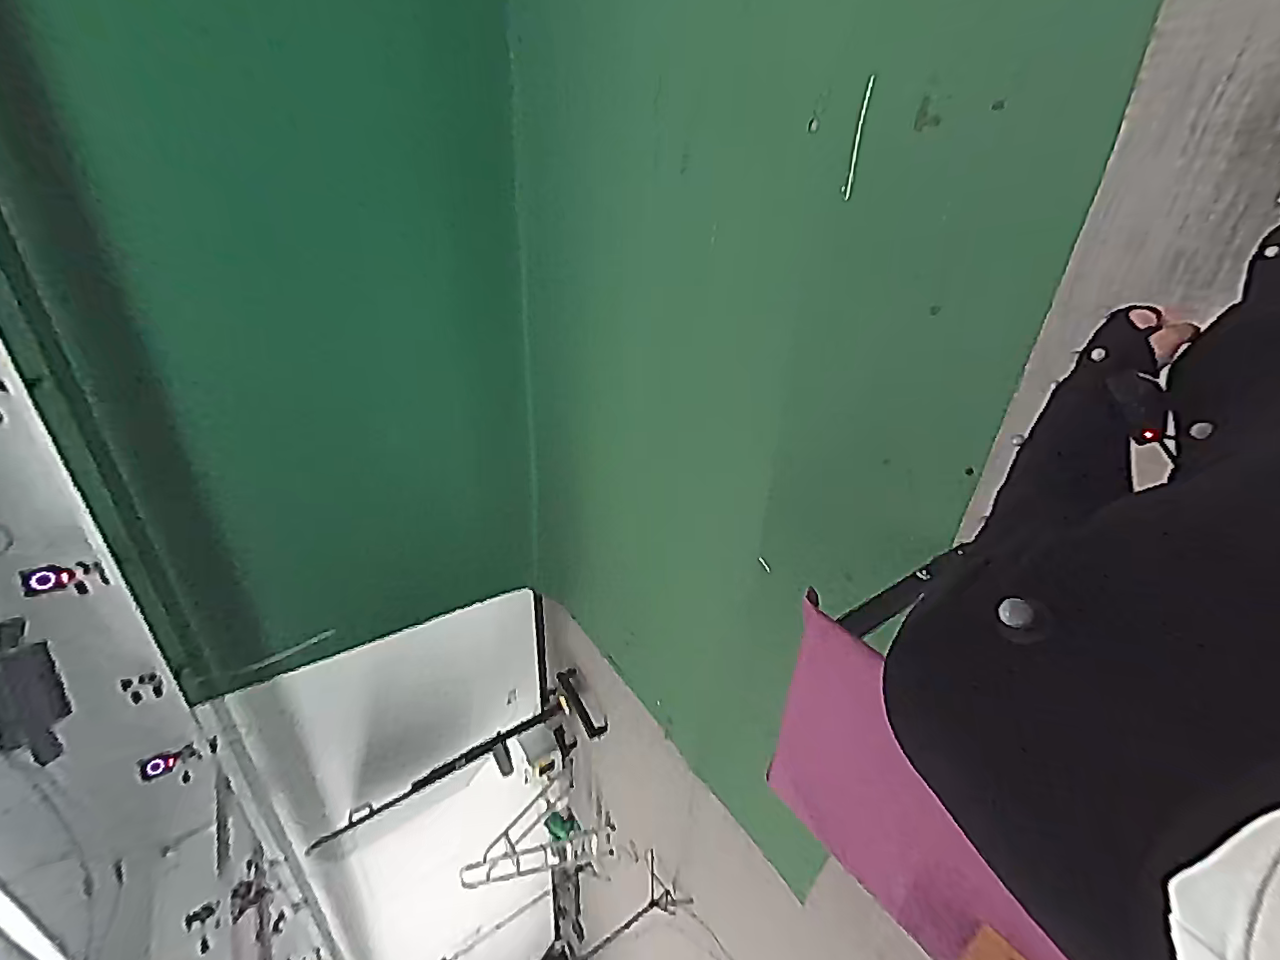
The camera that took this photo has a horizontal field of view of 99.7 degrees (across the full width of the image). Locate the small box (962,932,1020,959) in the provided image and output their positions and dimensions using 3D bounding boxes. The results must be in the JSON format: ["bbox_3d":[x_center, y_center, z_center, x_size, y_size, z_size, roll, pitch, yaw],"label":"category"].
[{"bbox_3d":[0.661,1.009,1.004,0.168,0.176,0.179,33,129,46],"label":"small box"}]
